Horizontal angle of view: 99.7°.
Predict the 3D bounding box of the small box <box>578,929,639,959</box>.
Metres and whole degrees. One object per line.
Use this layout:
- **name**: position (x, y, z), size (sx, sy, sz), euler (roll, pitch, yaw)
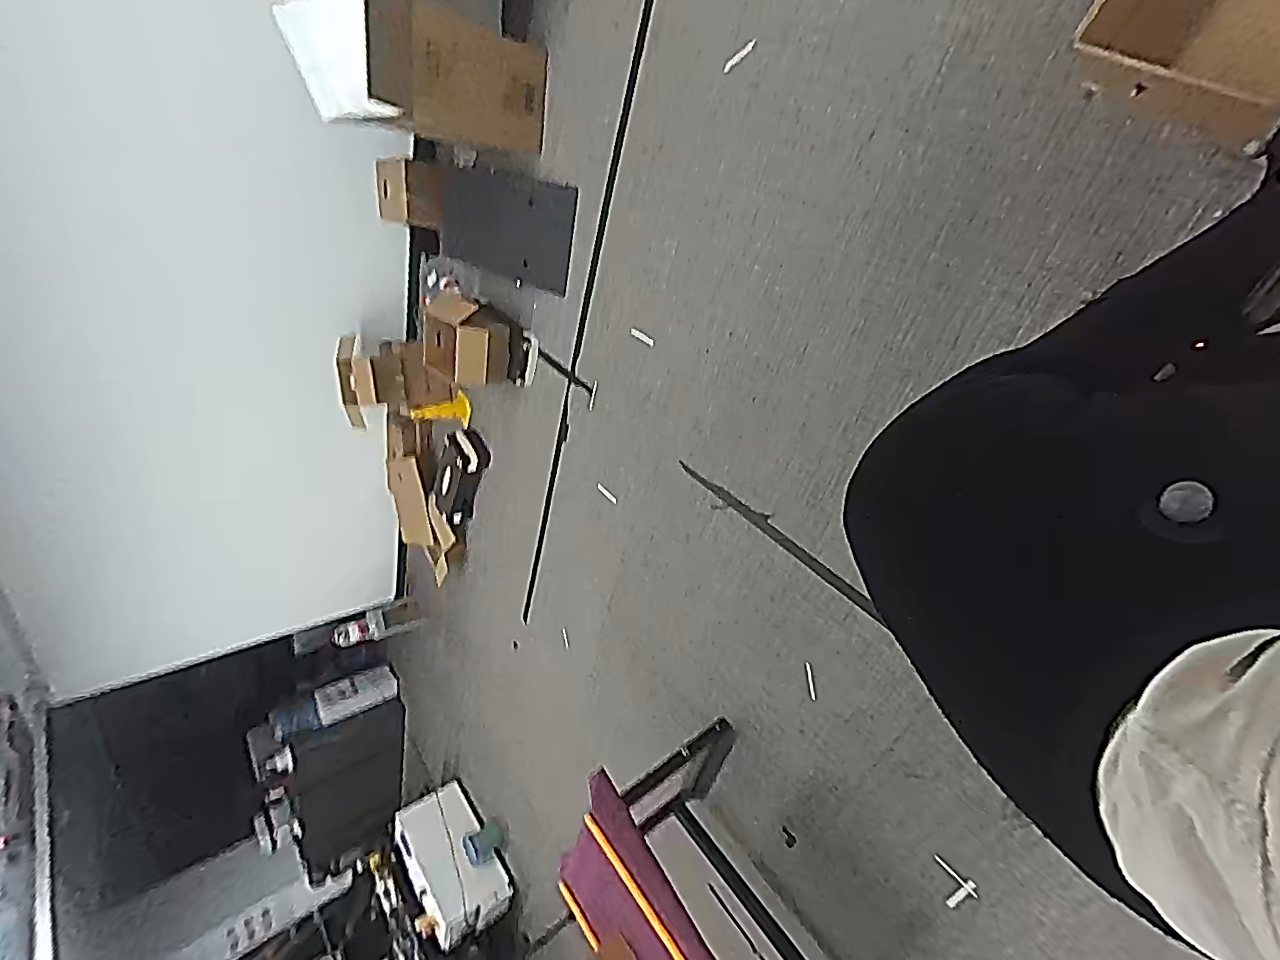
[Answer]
- **small box**: position (-0.108, 1.701, 1.859), size (0.179, 0.176, 0.168), euler (38, 125, 35)
